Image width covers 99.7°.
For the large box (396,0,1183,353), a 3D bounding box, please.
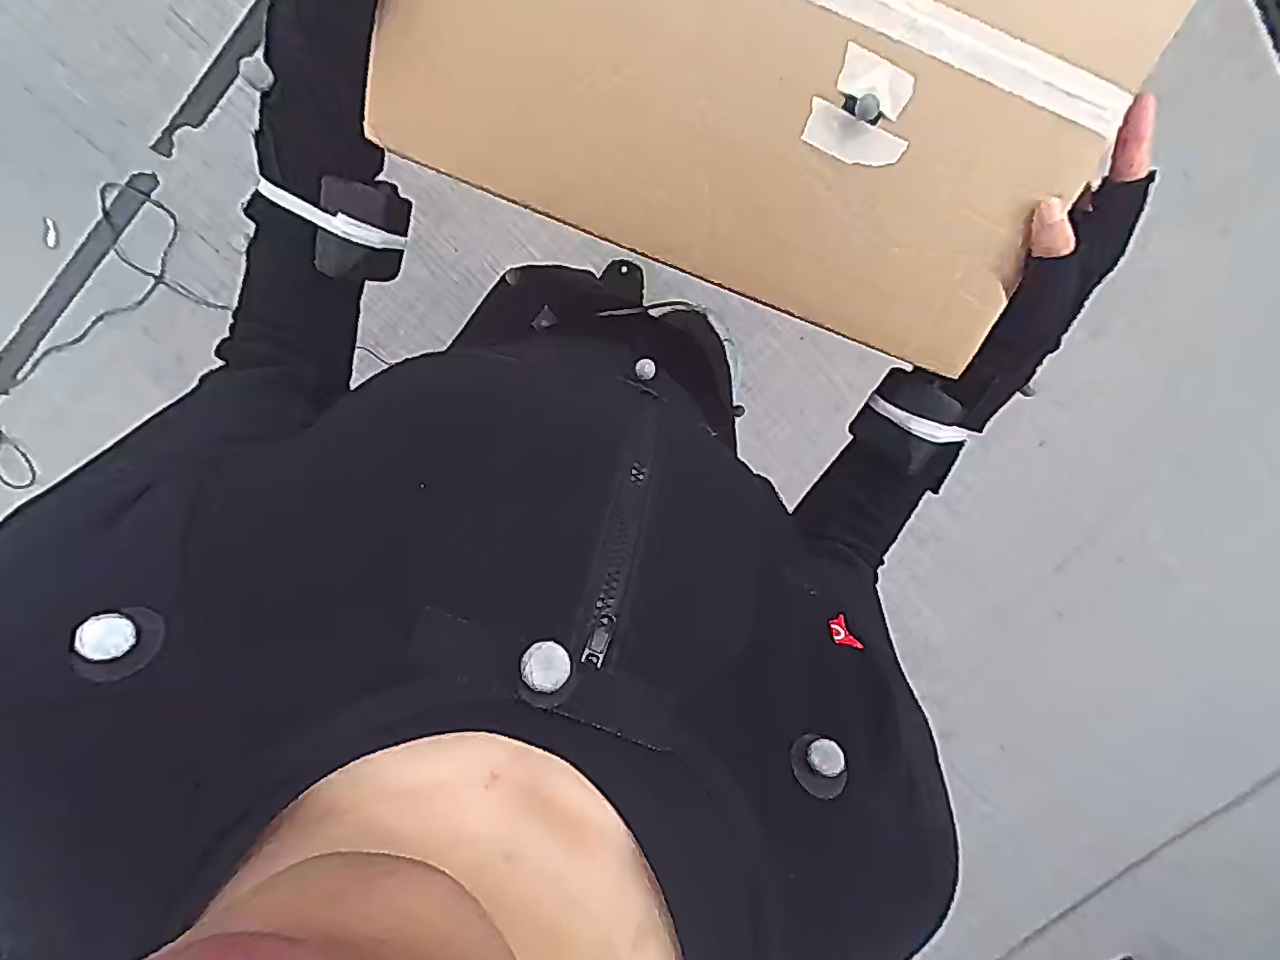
[{"bbox_3d":[0.090,-0.342,0.426,0.408,0.320,0.320,20,116,-7],"label":"large box"}]
